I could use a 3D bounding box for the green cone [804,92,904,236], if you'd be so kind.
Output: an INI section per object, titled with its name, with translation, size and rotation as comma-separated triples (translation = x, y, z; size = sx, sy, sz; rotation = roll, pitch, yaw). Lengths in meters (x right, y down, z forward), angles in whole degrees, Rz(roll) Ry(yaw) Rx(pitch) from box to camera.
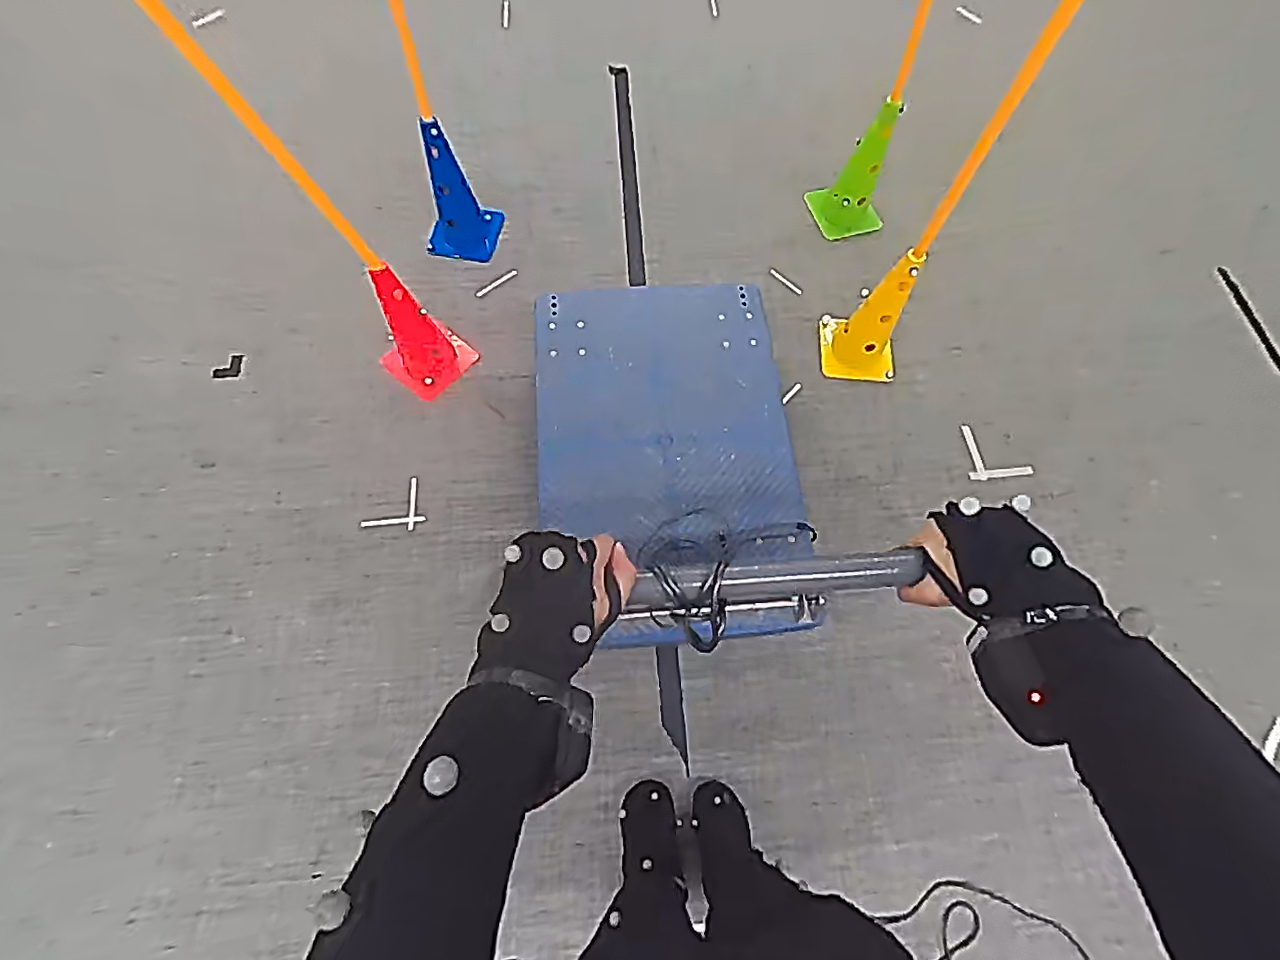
[green cone]
translation = 0.648, -0.925, 1.557
size = 0.200, 0.368, 0.202
rotation = -17, 71, -8

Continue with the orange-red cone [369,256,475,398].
[orange-red cone]
translation = -0.569, -0.398, 1.315
size = 0.198, 0.360, 0.199
rotation = 39, 71, 12

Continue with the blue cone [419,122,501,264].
[blue cone]
translation = -0.525, -0.803, 1.491
size = 0.193, 0.380, 0.192
rotation = 10, 69, 2
